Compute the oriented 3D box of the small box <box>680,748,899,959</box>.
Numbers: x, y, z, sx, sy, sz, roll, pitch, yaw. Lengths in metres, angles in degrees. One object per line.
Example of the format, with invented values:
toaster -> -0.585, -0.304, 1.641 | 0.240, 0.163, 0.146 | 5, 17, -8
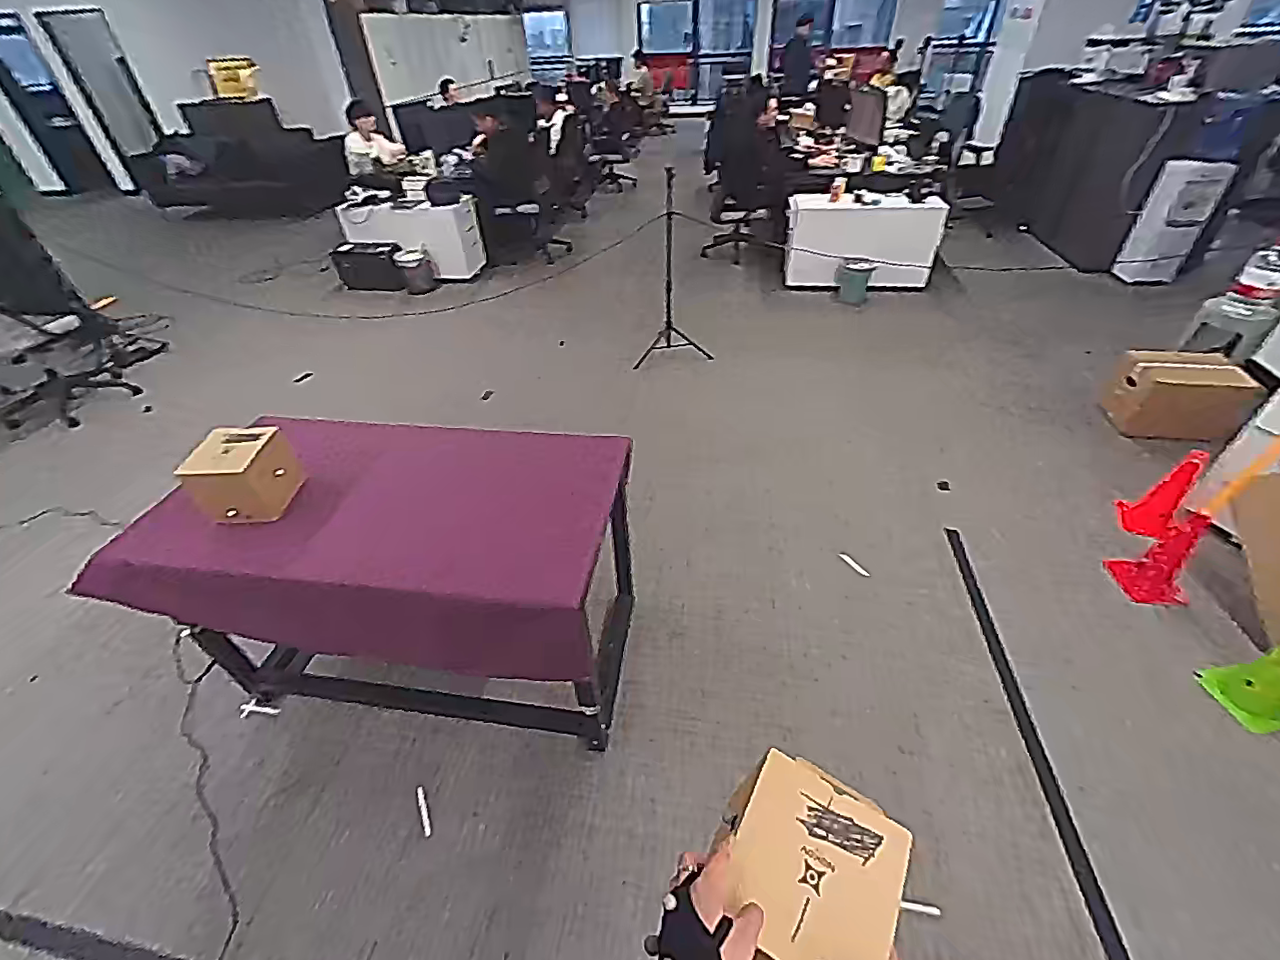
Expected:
small box -> 0.160, 0.450, 0.605 | 0.168, 0.176, 0.179 | 26, 45, 16
